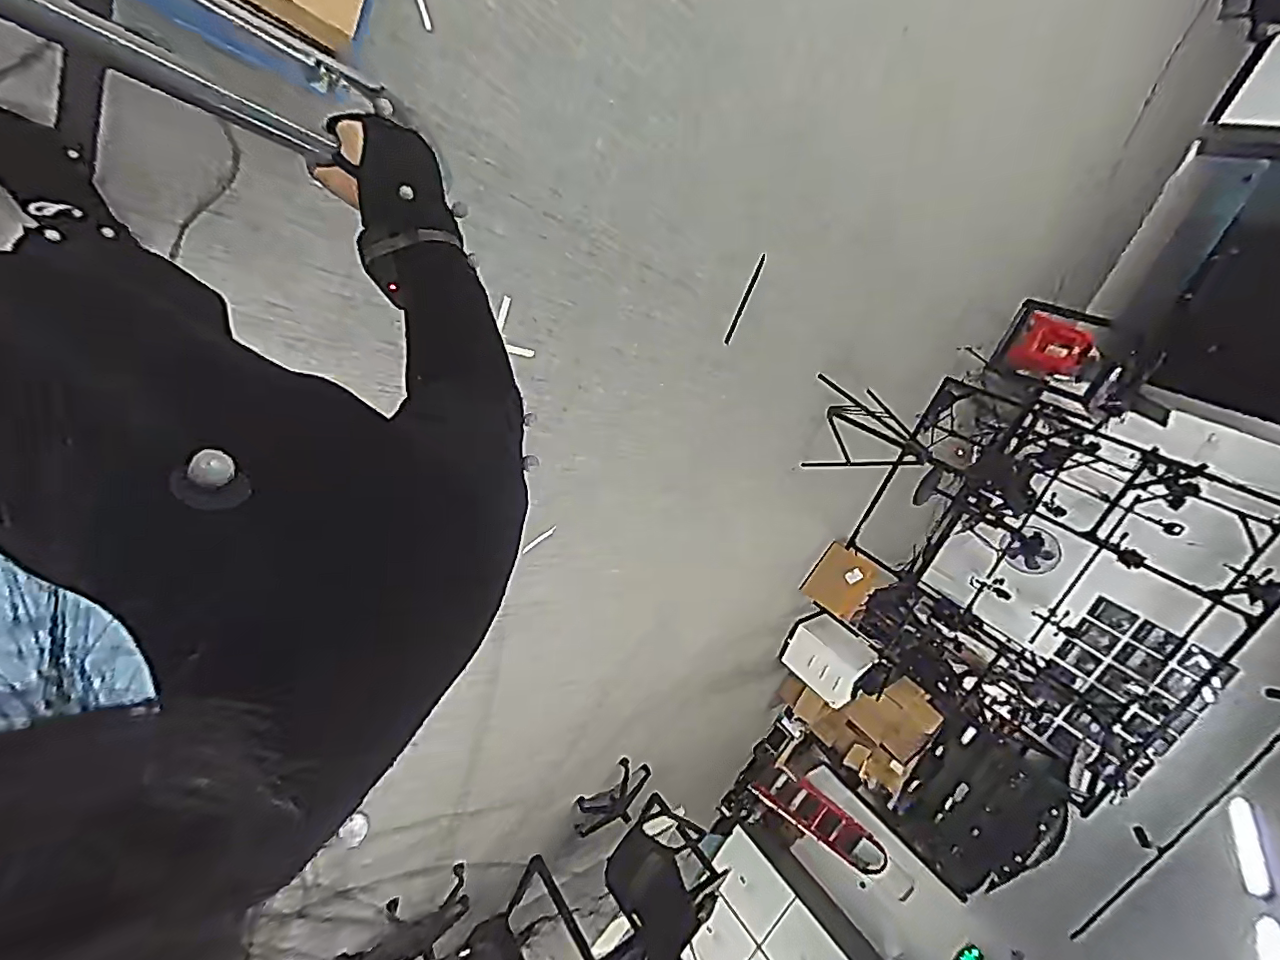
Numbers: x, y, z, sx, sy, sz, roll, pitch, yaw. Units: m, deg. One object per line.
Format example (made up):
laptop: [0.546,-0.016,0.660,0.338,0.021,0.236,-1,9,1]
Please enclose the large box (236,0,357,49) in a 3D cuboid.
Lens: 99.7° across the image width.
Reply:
large box: [-0.567,-0.815,0.641,0.408,0.320,0.320,5,121,-48]
